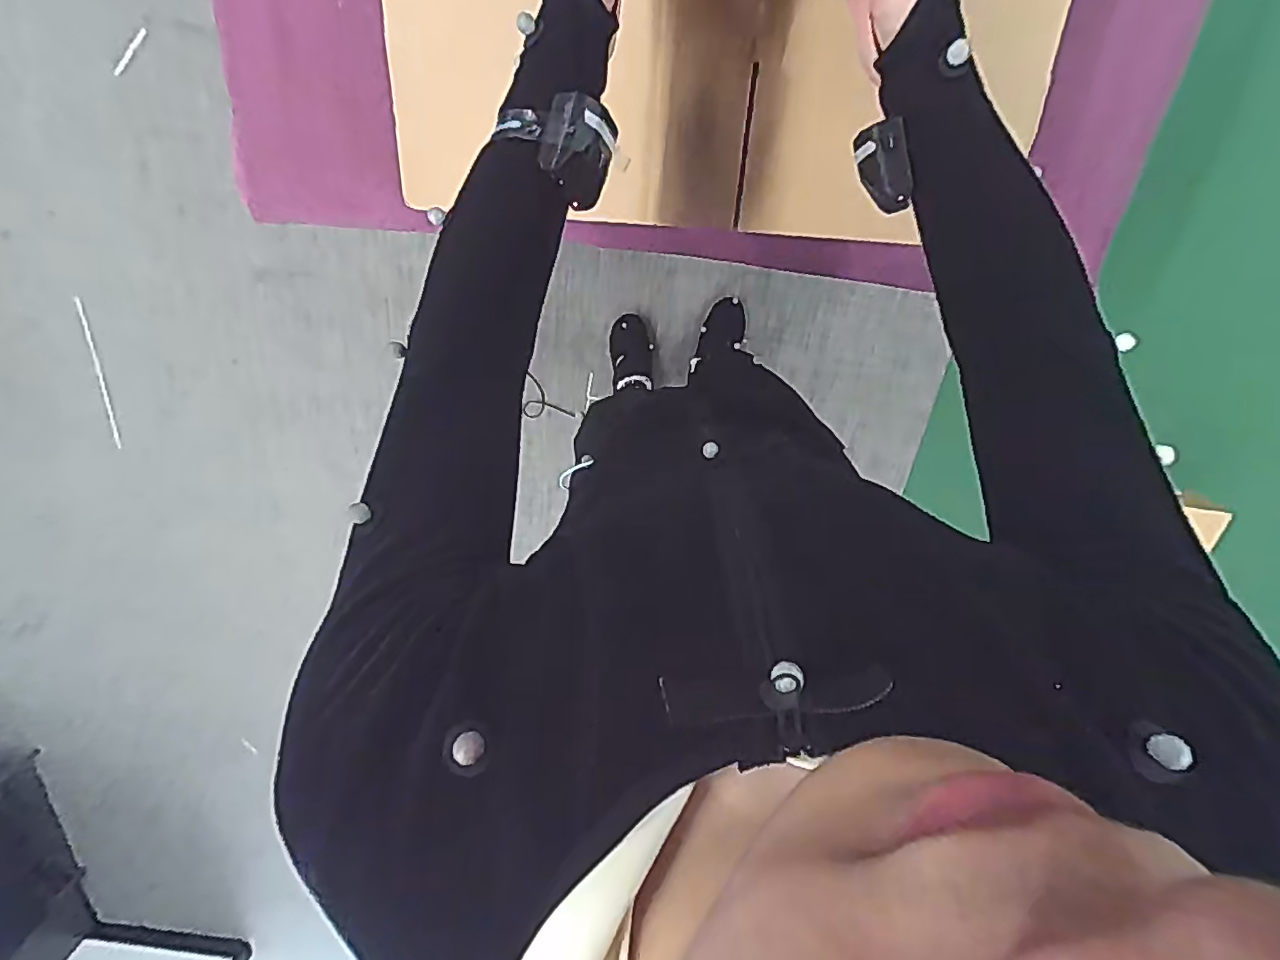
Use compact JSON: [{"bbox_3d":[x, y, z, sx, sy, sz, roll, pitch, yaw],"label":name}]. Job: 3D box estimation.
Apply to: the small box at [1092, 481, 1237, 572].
[{"bbox_3d":[1.327,0.113,1.387,0.179,0.176,0.168,8,113,0],"label":"small box"}]
